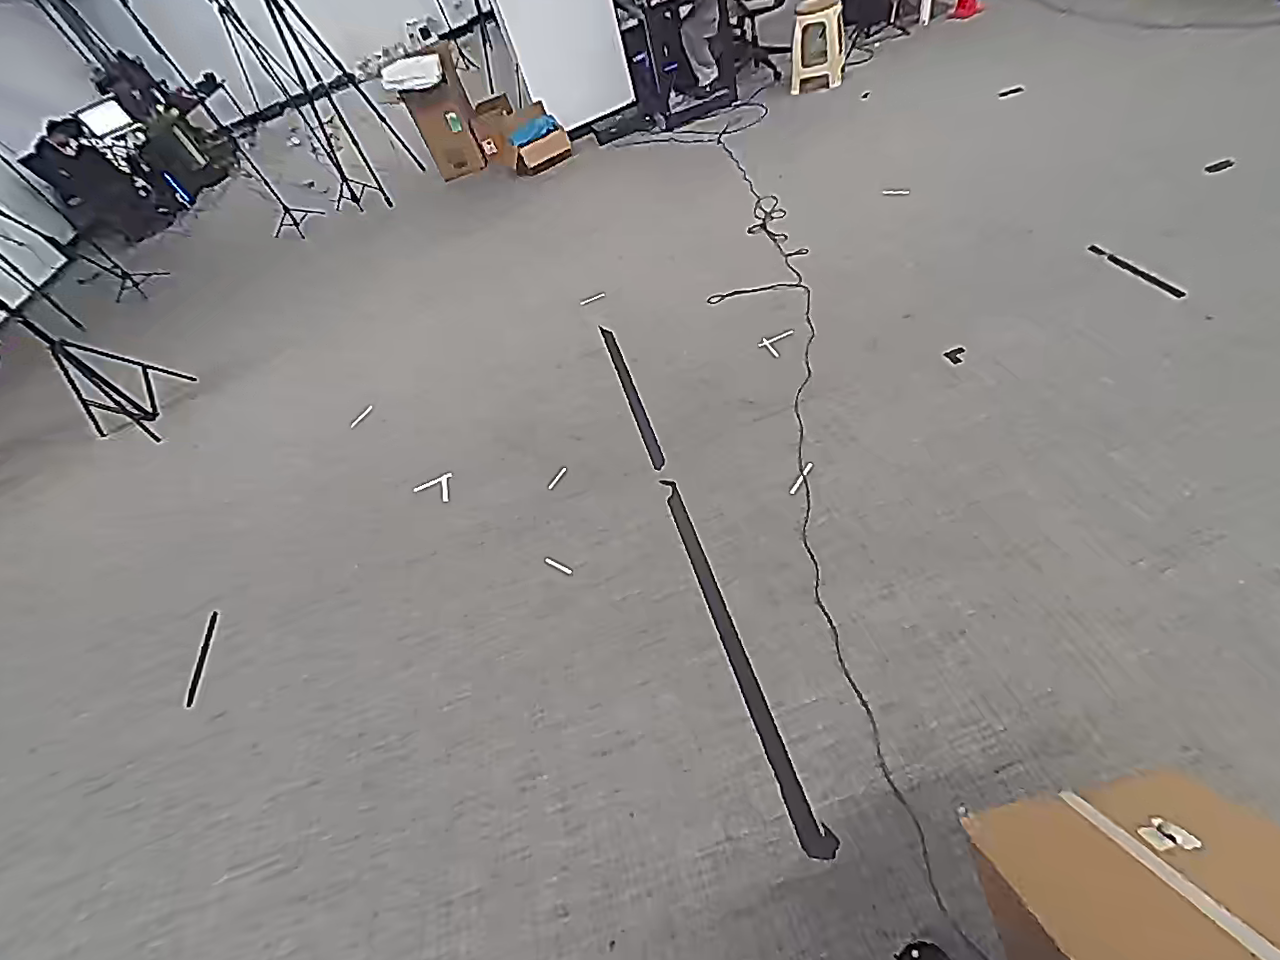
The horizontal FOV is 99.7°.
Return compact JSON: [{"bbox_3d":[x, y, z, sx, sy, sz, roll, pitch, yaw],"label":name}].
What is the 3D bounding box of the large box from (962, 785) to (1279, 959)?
[{"bbox_3d":[0.650,0.615,0.593,0.320,0.408,0.320,-17,82,6],"label":"large box"}]
